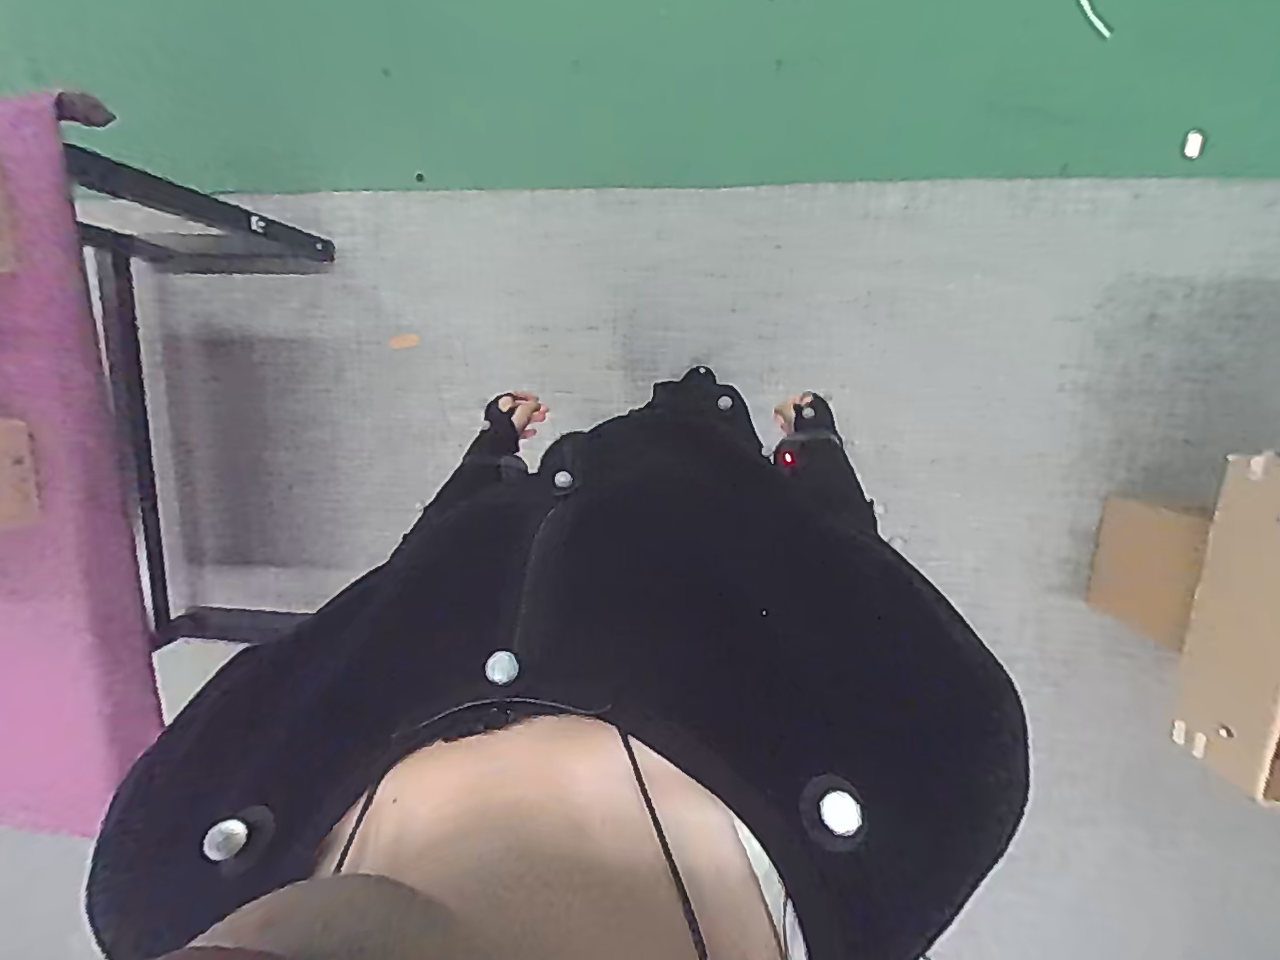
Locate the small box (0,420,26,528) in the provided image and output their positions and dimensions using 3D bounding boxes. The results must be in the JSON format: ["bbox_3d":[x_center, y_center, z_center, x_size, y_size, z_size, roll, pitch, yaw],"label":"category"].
[{"bbox_3d":[-1.050,-0.002,0.776,0.179,0.176,0.168,3,100,6],"label":"small box"}]
